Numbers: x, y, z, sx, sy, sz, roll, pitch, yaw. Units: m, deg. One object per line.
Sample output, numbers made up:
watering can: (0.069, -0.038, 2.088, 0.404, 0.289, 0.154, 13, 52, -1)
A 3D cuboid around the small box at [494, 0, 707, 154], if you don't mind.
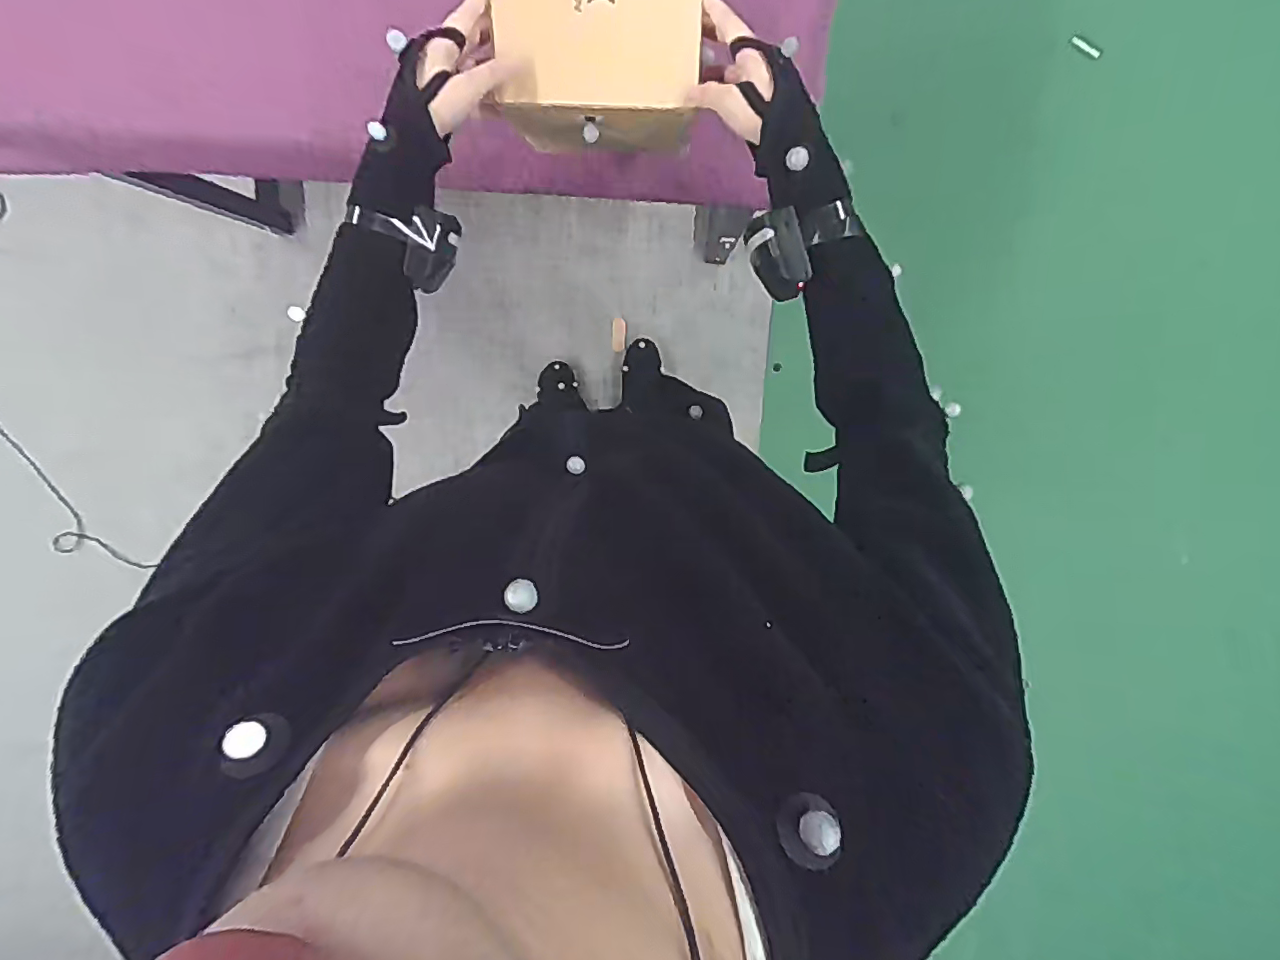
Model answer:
small box: (-0.029, -0.421, 0.510, 0.179, 0.176, 0.168, 3, 110, 3)
